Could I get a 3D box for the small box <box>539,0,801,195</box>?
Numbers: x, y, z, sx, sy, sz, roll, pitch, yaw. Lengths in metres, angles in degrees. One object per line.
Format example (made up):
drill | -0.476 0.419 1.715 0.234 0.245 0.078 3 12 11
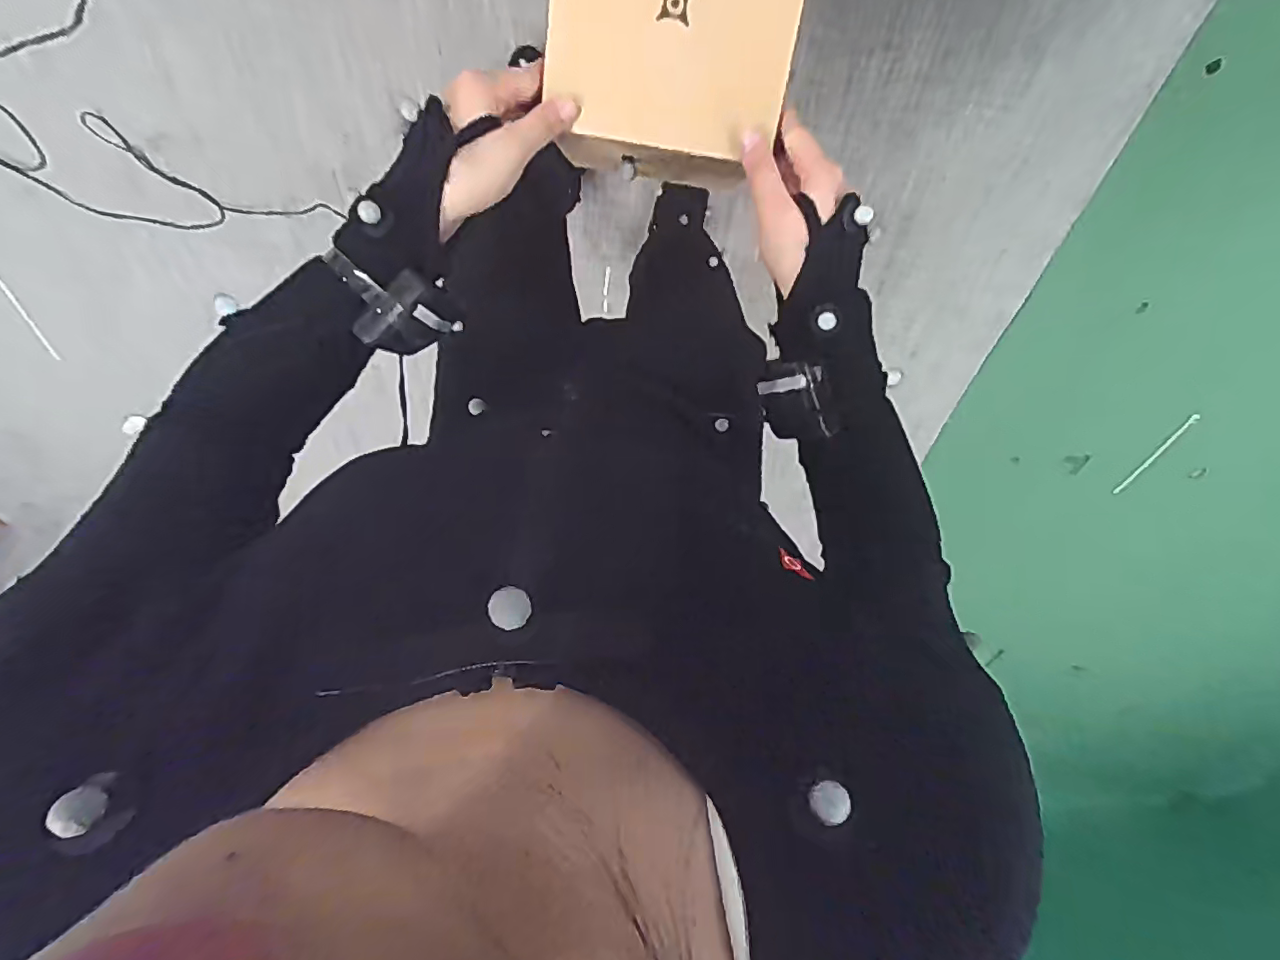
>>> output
small box | 0.025 -0.339 0.425 0.168 0.176 0.179 9 111 -2
